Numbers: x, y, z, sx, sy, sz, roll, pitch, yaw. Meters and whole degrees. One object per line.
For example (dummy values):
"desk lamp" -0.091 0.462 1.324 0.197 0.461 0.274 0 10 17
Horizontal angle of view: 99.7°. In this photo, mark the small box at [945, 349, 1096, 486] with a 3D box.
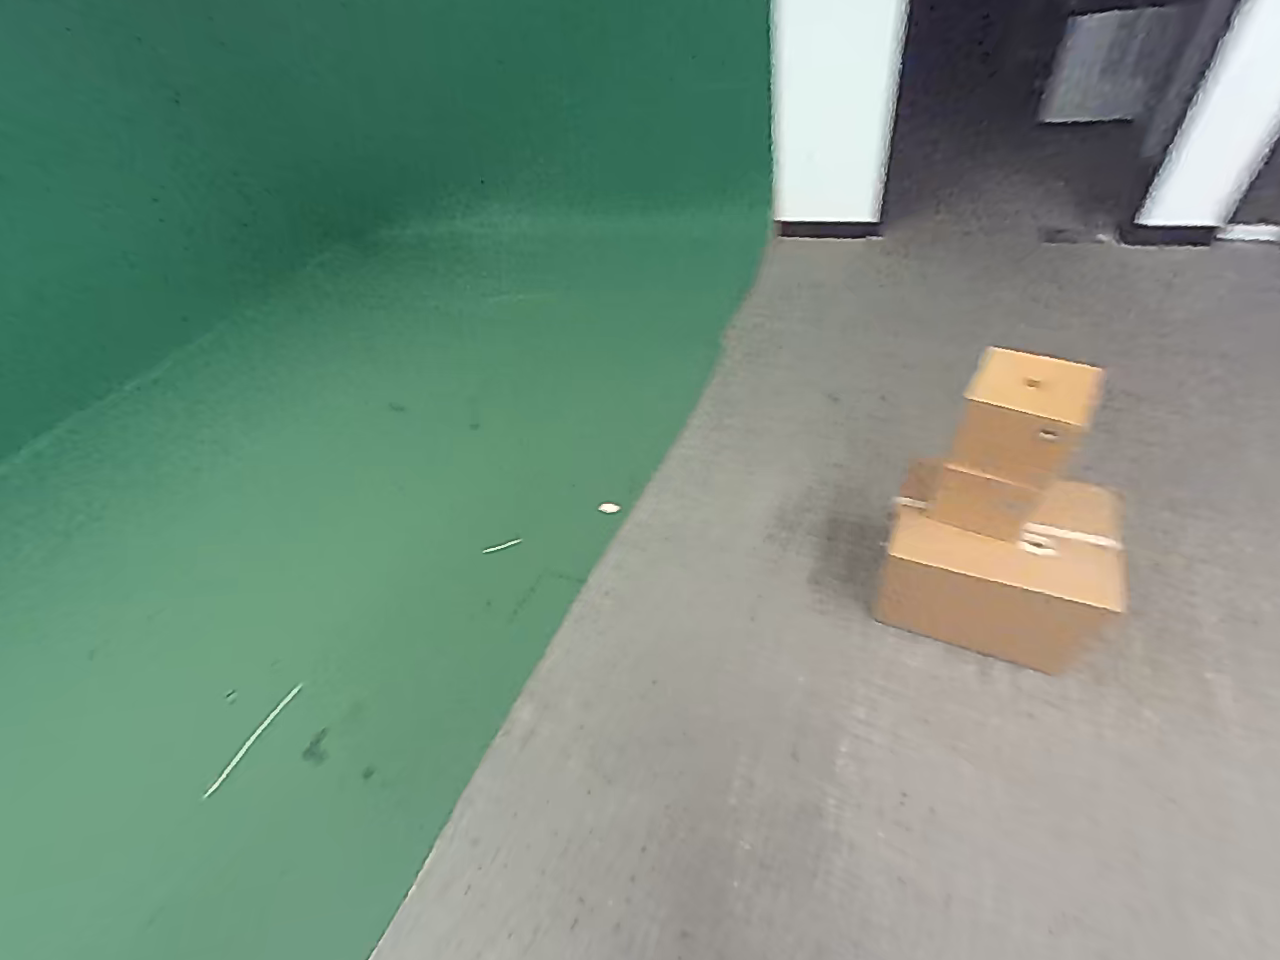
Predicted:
"small box" 0.702 -0.115 1.013 0.179 0.176 0.168 23 58 28

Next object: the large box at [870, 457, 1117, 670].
"large box" 0.795 0.190 1.273 0.408 0.320 0.320 14 55 23
